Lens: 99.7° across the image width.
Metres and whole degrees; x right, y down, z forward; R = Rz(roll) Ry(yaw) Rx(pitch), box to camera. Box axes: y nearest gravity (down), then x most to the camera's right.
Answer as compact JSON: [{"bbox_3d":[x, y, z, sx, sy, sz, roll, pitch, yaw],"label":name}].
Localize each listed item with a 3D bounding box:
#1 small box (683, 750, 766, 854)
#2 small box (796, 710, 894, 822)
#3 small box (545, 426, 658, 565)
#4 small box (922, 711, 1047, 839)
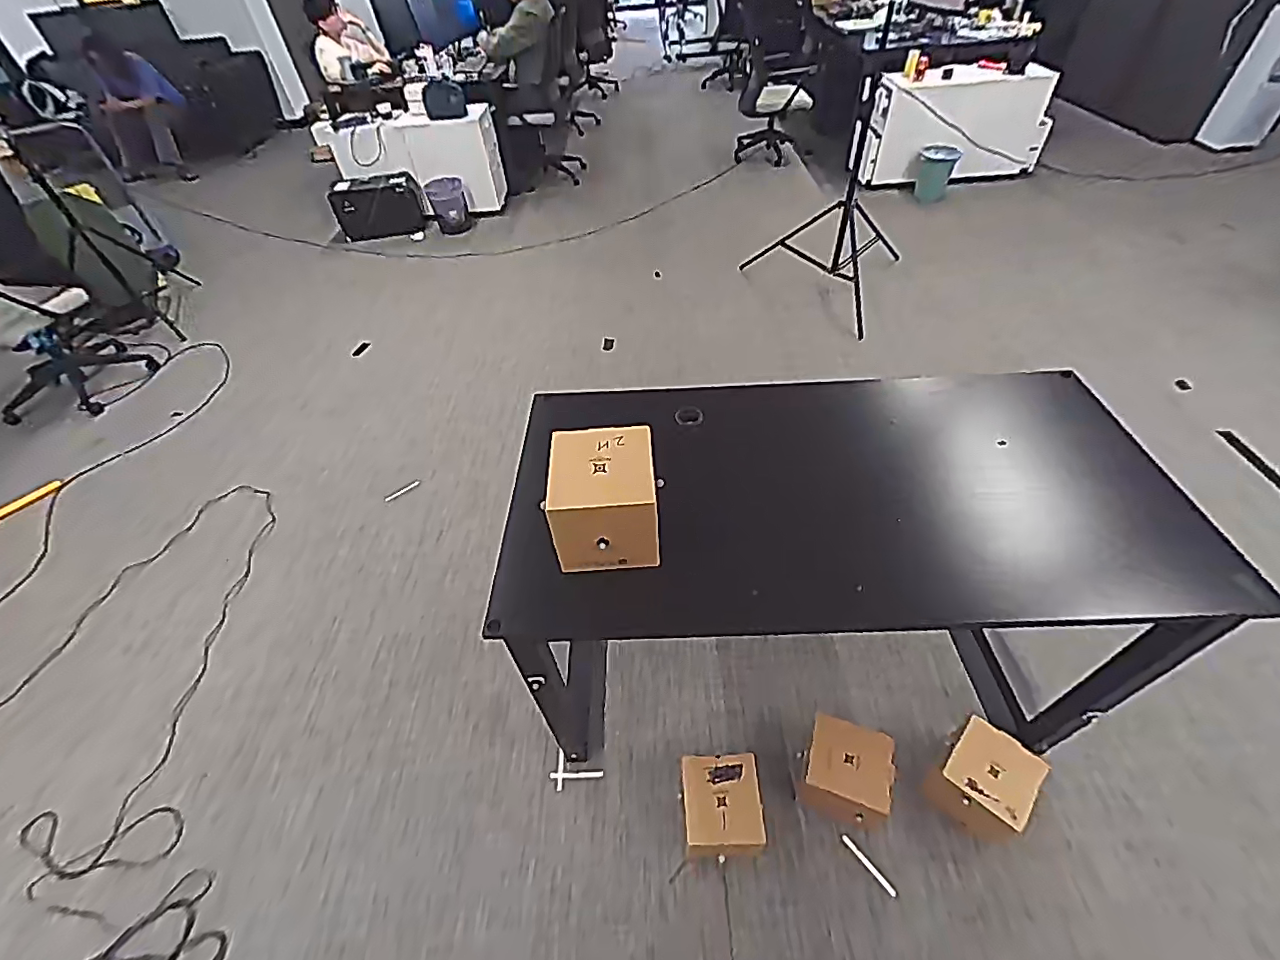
[{"bbox_3d":[0.185,0.738,1.237,0.168,0.176,0.179,-4,49,2],"label":"small box"},{"bbox_3d":[0.478,0.676,1.270,0.179,0.176,0.168,12,49,17],"label":"small box"},{"bbox_3d":[-0.058,0.032,0.913,0.168,0.176,0.179,-4,47,0],"label":"small box"},{"bbox_3d":[0.780,0.676,1.239,0.168,0.176,0.179,33,58,30],"label":"small box"}]
